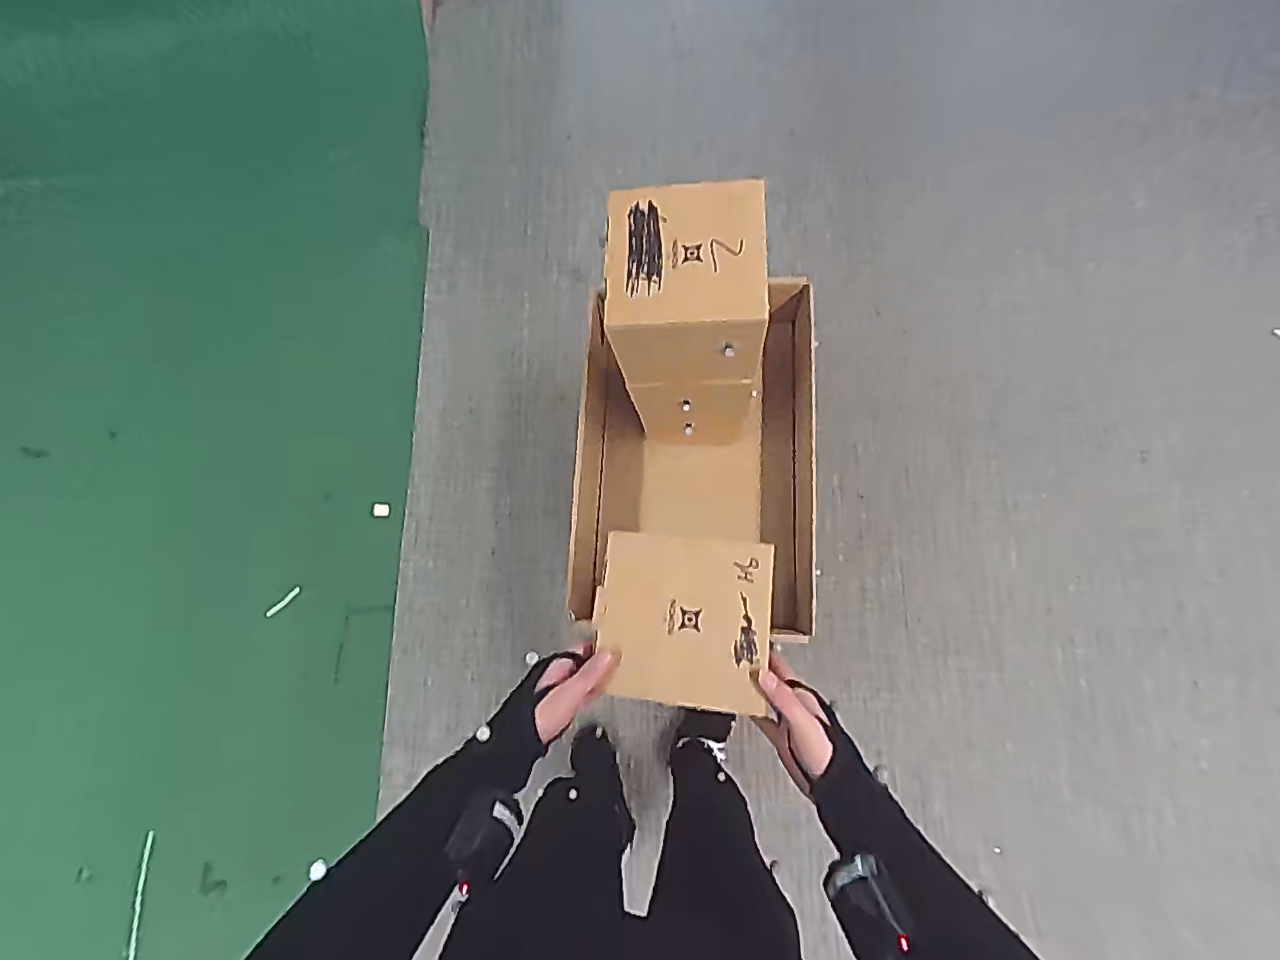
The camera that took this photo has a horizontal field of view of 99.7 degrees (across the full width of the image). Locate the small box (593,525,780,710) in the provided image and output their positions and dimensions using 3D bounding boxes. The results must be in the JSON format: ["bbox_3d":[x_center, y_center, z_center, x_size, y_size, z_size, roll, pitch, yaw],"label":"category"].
[{"bbox_3d":[0.061,0.154,0.618,0.179,0.176,0.168,4,75,11],"label":"small box"}]

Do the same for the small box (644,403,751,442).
[{"bbox_3d":[0.105,-0.169,0.970,0.179,0.176,0.168,2,80,8],"label":"small box"}]

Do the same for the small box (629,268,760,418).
[{"bbox_3d":[0.084,-0.195,0.810,0.179,0.176,0.168,0,80,8],"label":"small box"}]
